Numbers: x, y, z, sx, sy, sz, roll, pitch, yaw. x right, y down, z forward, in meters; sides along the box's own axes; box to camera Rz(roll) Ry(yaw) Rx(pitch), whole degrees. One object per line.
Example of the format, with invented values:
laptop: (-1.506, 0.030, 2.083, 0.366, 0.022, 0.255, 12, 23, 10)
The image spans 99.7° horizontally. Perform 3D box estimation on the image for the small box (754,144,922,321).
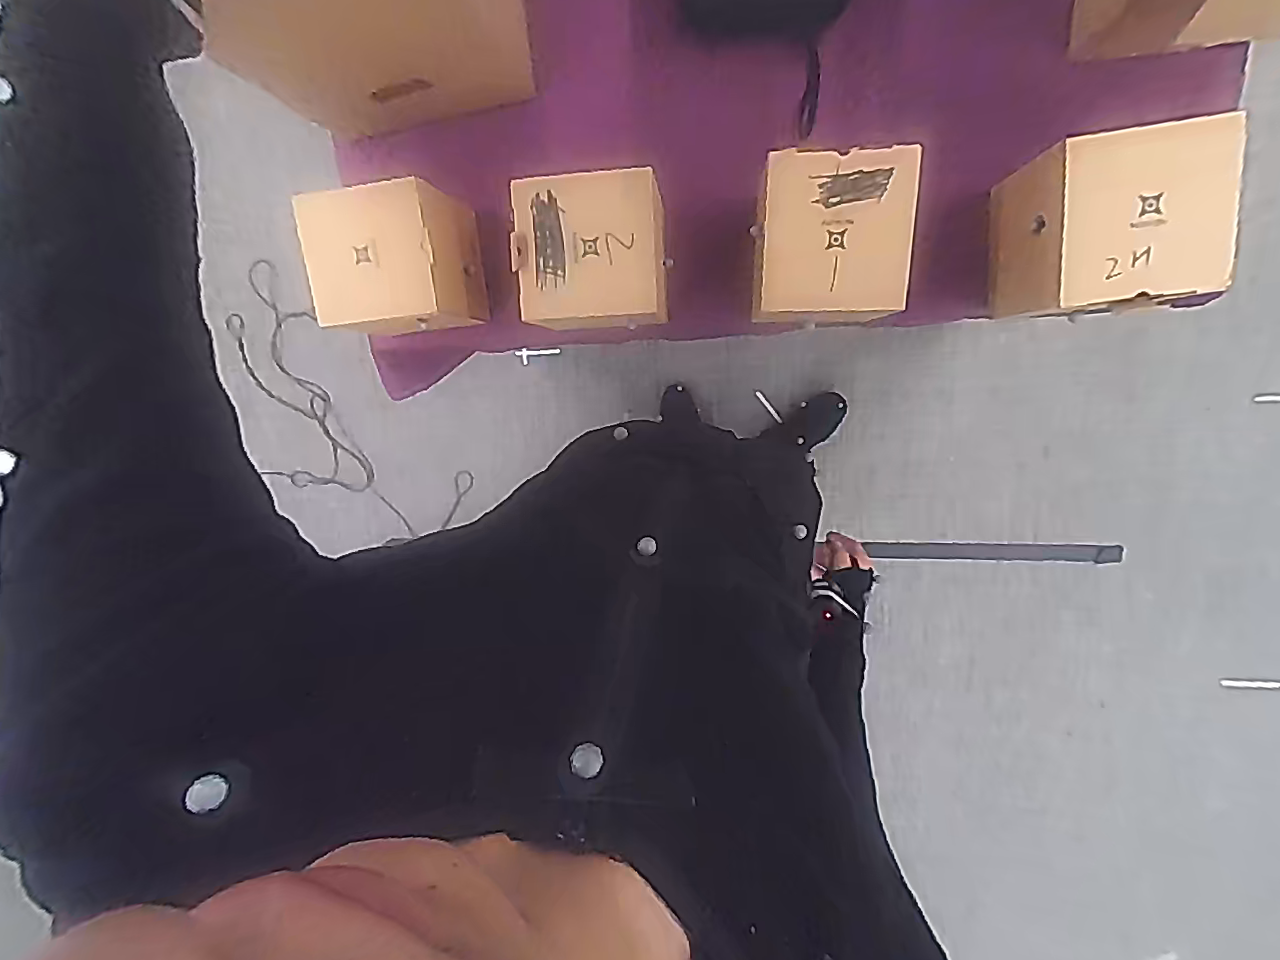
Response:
small box: (0.237, -0.301, 0.693, 0.168, 0.176, 0.179, 2, 103, 8)

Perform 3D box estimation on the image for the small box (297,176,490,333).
small box: (-0.338, -0.307, 0.774, 0.179, 0.176, 0.168, -5, 102, 8)

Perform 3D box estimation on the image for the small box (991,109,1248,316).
small box: (0.548, -0.300, 0.647, 0.168, 0.176, 0.179, -3, 102, 10)
